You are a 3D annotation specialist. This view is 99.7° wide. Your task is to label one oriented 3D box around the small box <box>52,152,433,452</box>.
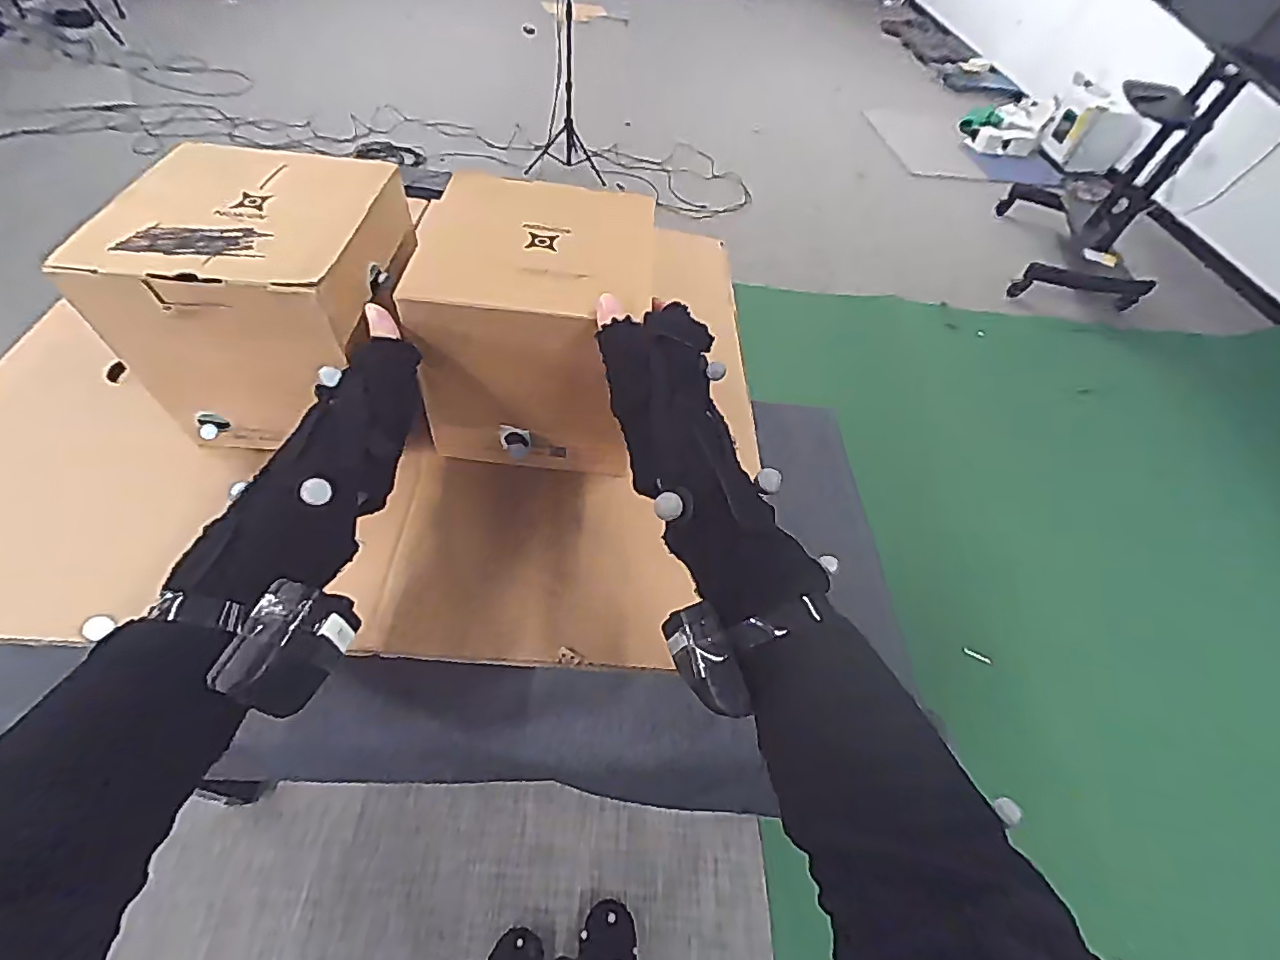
[{"bbox_3d":[-0.288,-0.141,0.451,0.168,0.176,0.179,4,52,-3],"label":"small box"}]
